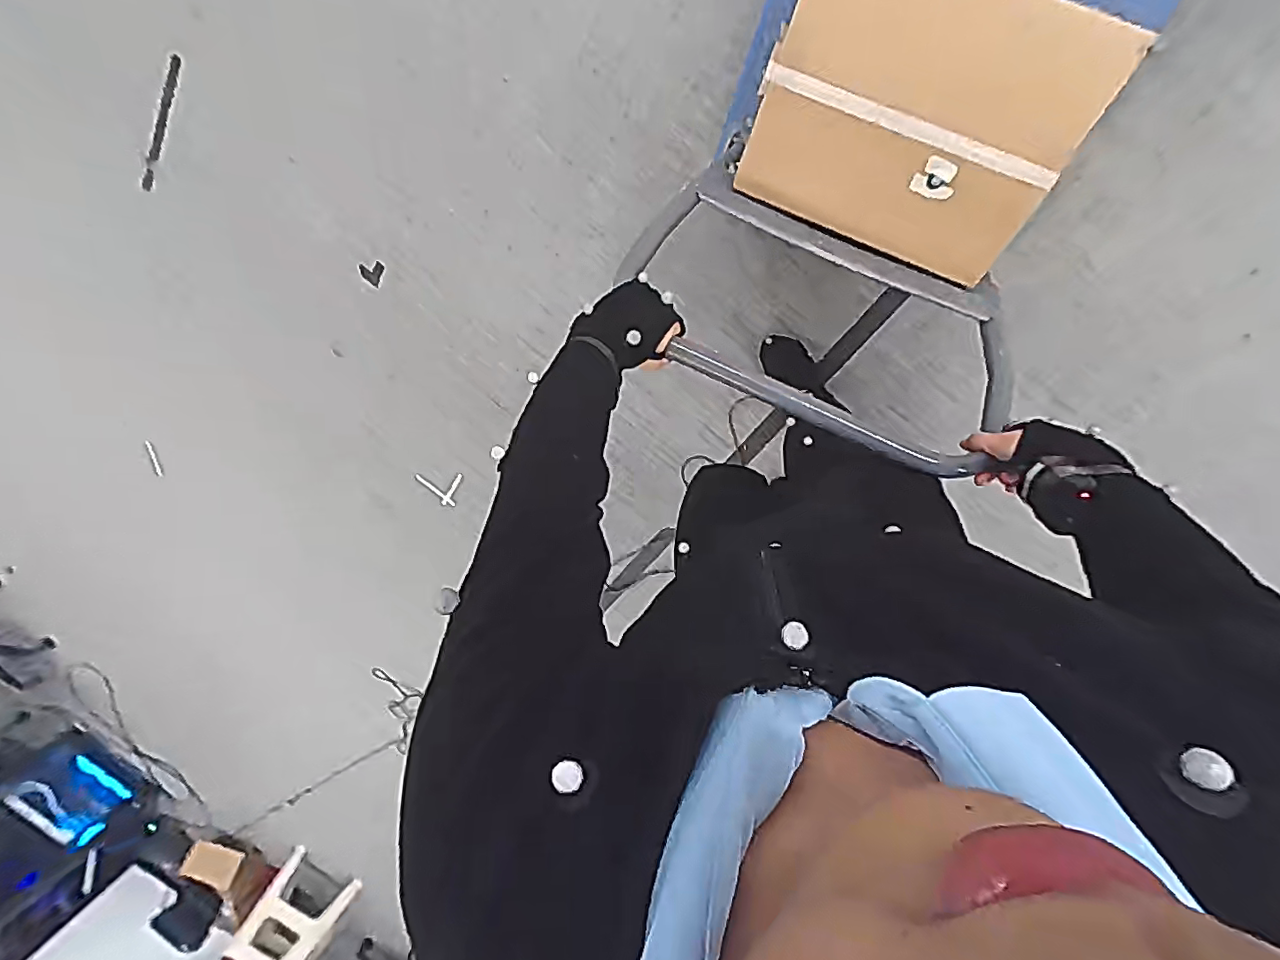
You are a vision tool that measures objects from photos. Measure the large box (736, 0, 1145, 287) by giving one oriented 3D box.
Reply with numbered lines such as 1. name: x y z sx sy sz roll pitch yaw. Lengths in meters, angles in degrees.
1. large box: 0.414 -0.567 0.849 0.408 0.320 0.320 25 134 4
